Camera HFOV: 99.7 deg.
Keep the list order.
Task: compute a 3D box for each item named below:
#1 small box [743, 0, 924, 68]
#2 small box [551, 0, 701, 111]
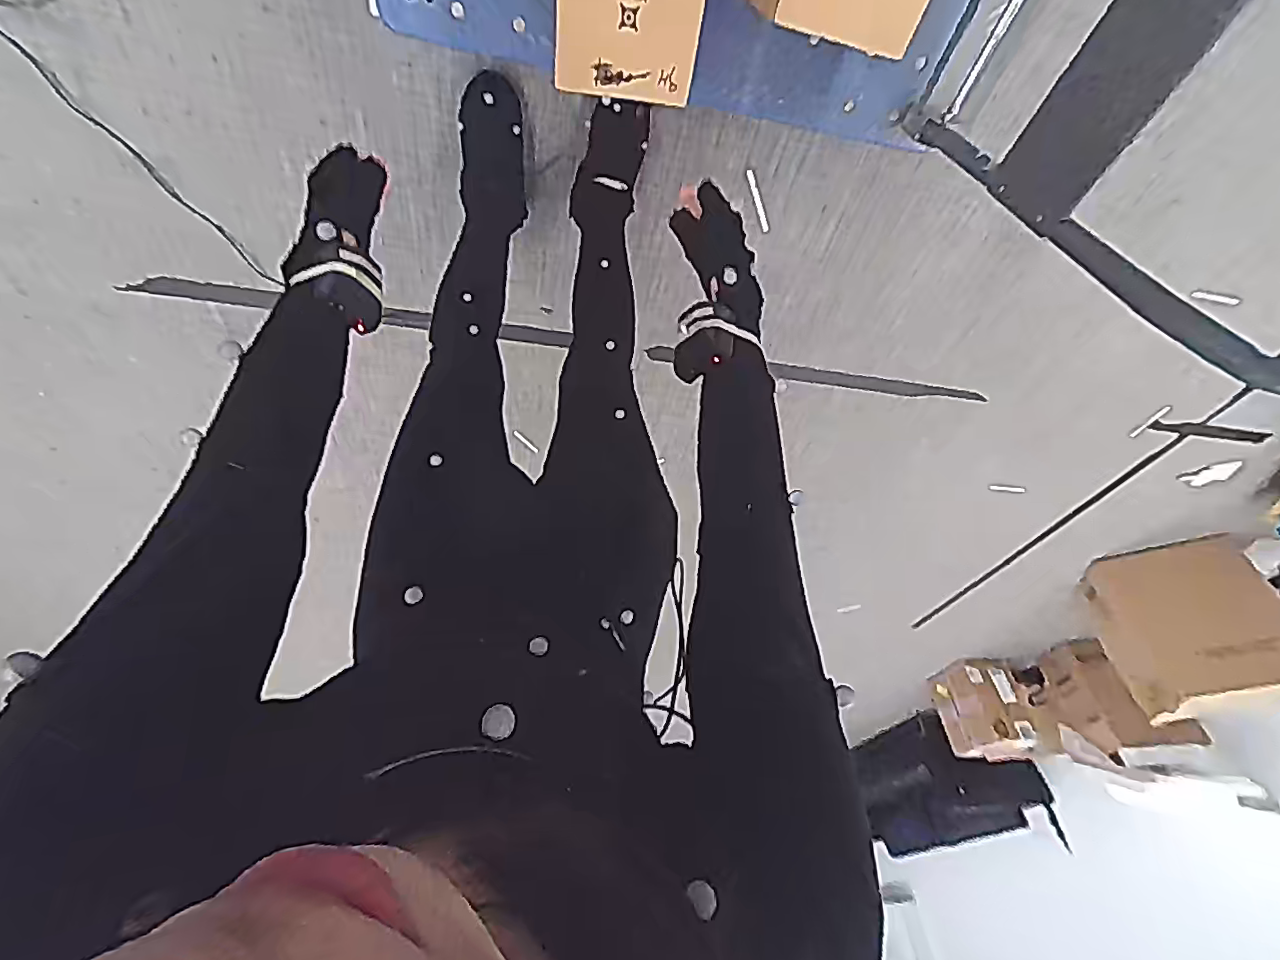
[{"bbox_3d":[0.238,-0.627,0.636,0.179,0.176,0.168,5,139,-15],"label":"small box"},{"bbox_3d":[-0.022,-0.584,0.656,0.168,0.176,0.179,2,139,-9],"label":"small box"}]
